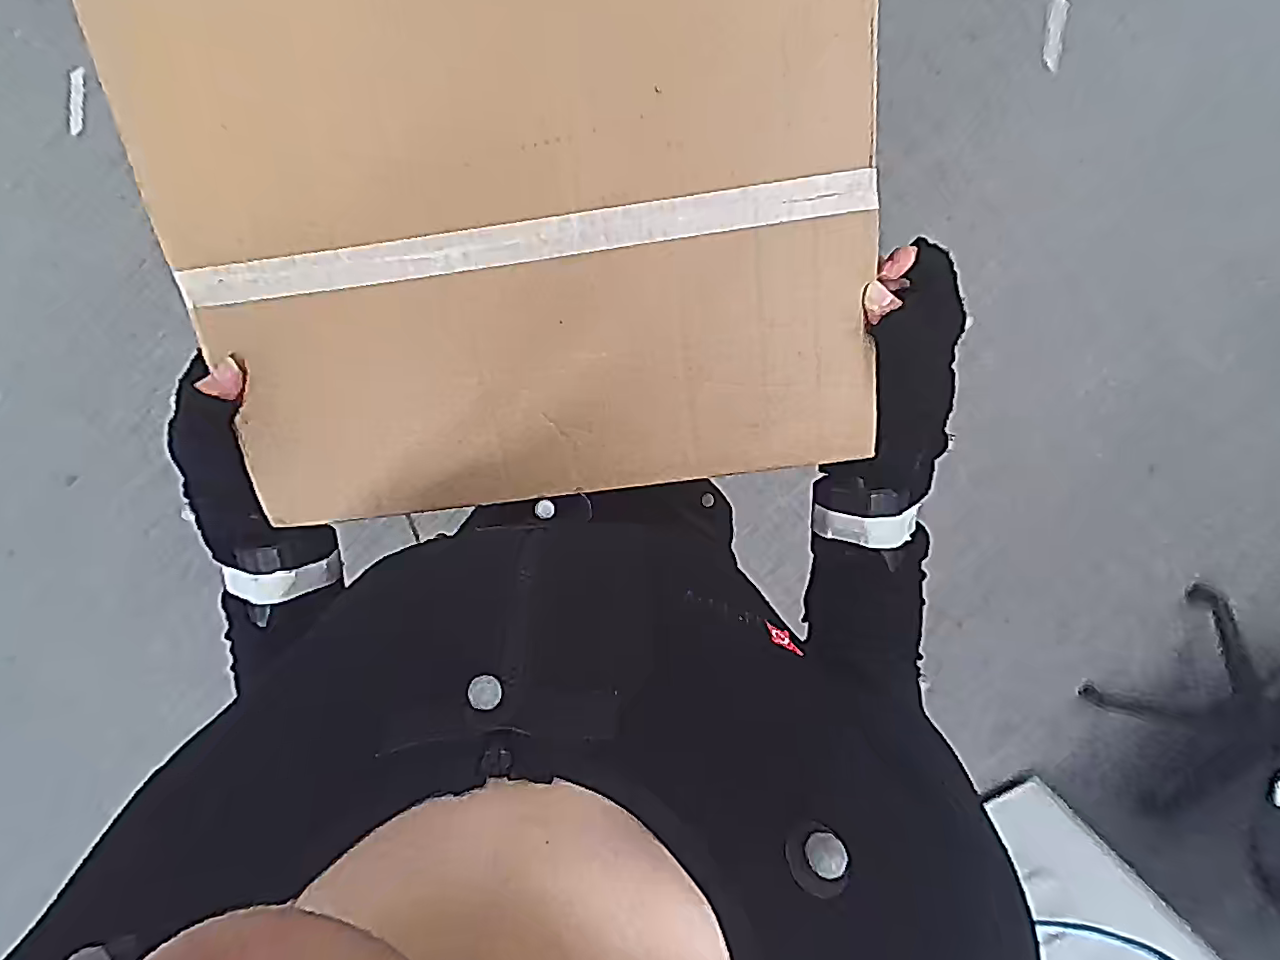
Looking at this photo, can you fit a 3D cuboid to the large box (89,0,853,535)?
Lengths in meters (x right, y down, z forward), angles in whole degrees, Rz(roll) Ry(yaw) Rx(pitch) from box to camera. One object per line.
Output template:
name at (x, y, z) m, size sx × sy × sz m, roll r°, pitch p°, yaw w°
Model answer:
large box at (-0.075, -0.182, 0.464) m, size 0.408 × 0.320 × 0.320 m, roll -8°, pitch 108°, yaw 3°
